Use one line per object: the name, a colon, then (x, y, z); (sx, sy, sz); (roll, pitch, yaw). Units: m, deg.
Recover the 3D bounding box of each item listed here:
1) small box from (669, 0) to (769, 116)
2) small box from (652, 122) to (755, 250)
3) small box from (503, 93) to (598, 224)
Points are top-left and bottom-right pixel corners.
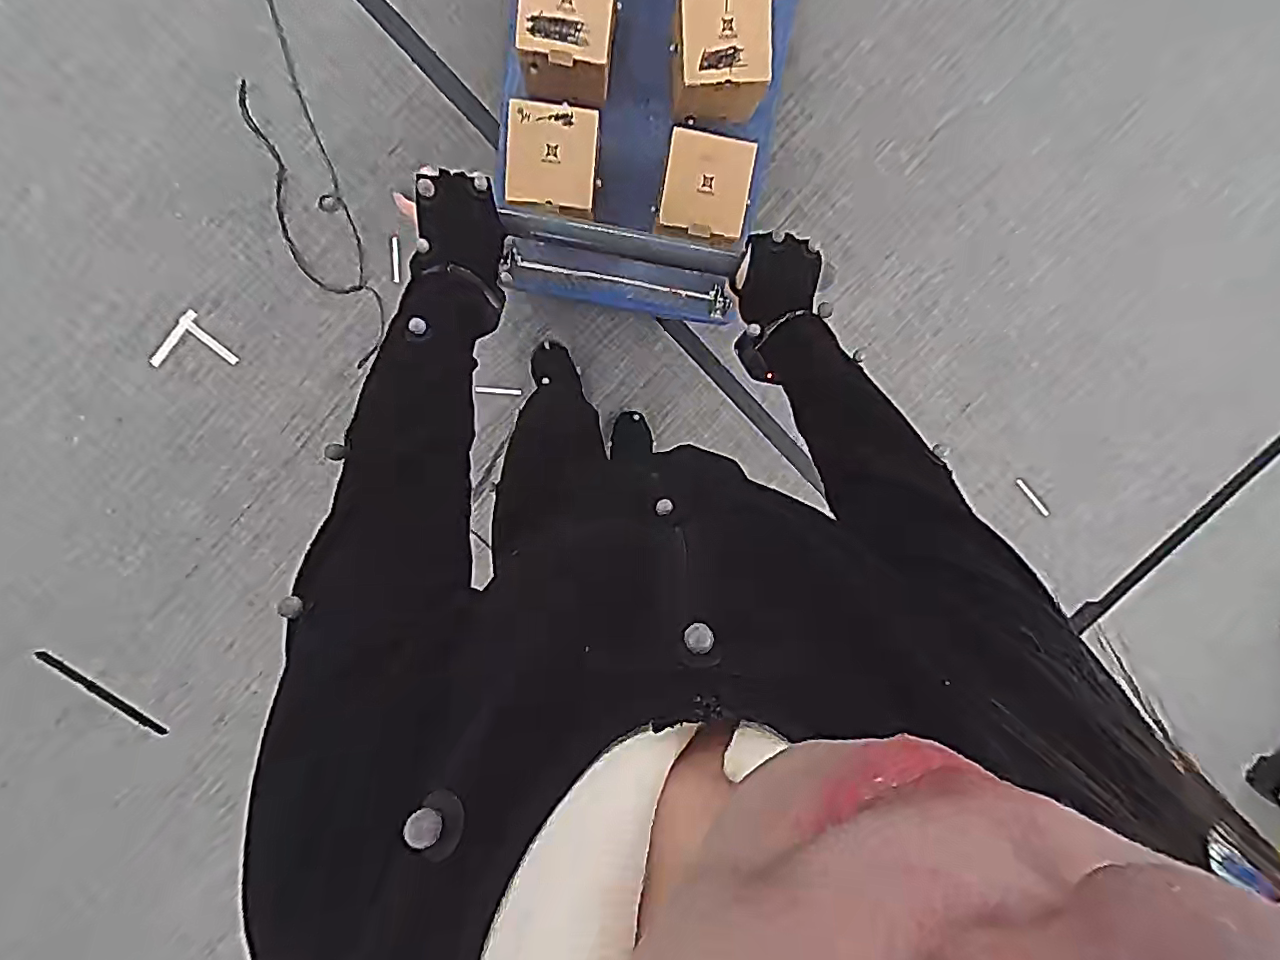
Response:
small box: (0.149, -0.843, 1.062); (0.168, 0.176, 0.179); (-4, 101, -3)
small box: (0.121, -0.592, 1.113); (0.168, 0.176, 0.179); (9, 101, -6)
small box: (-0.173, -0.629, 1.082); (0.168, 0.176, 0.179); (5, 102, -6)
